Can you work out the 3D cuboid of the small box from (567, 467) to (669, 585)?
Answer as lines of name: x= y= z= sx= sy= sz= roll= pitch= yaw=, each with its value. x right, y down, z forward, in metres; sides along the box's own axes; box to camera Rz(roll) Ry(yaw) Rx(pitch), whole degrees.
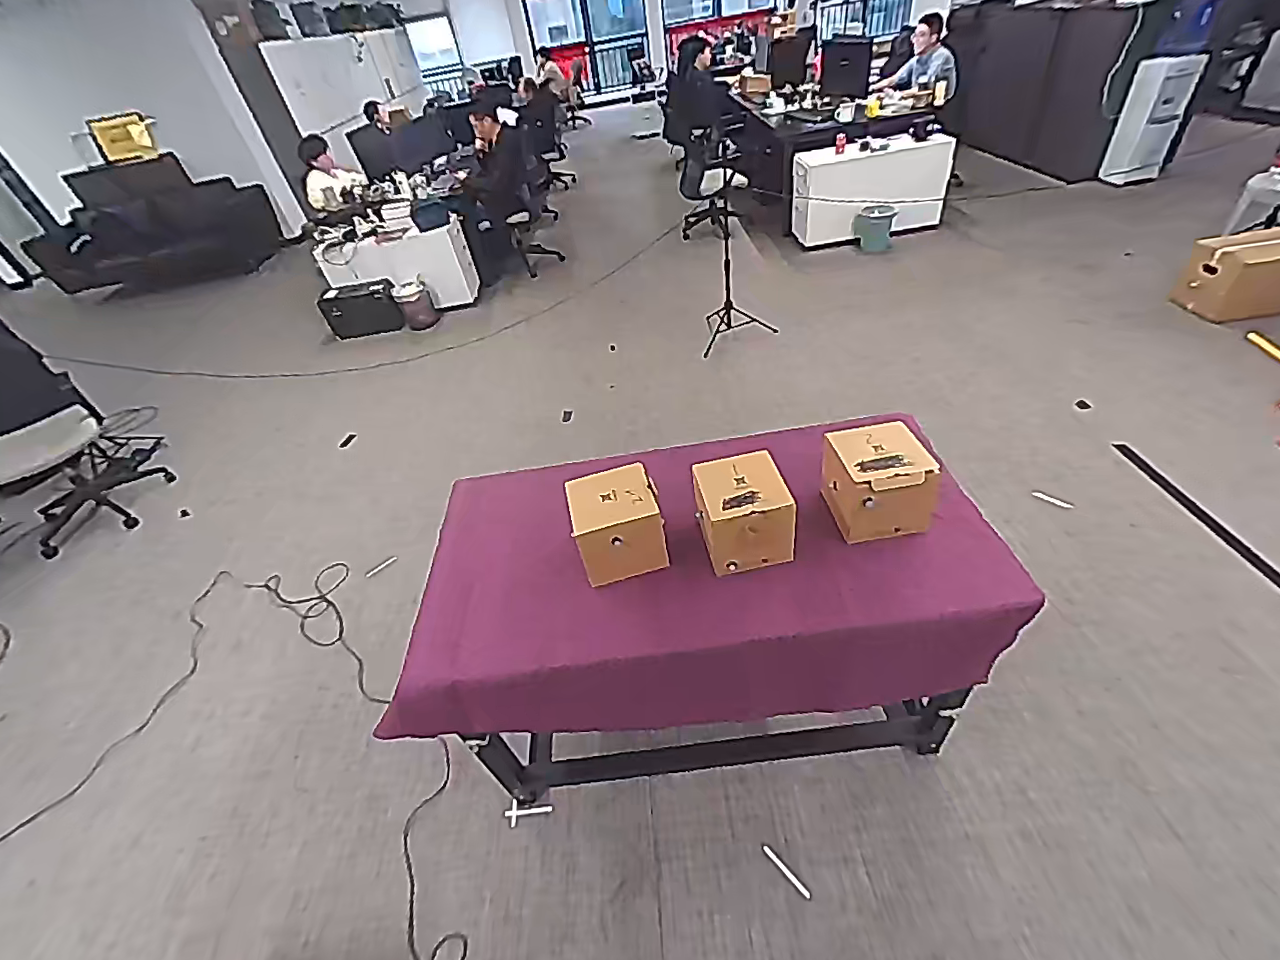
small box: x=-0.047 y=0.102 z=1.160 sx=0.179 sy=0.176 sz=0.168 roll=-14 pitch=41 yaw=-4

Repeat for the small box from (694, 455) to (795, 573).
small box: x=0.216 y=0.077 z=1.134 sx=0.168 sy=0.176 sz=0.179 roll=-11 pitch=40 yaw=-1
